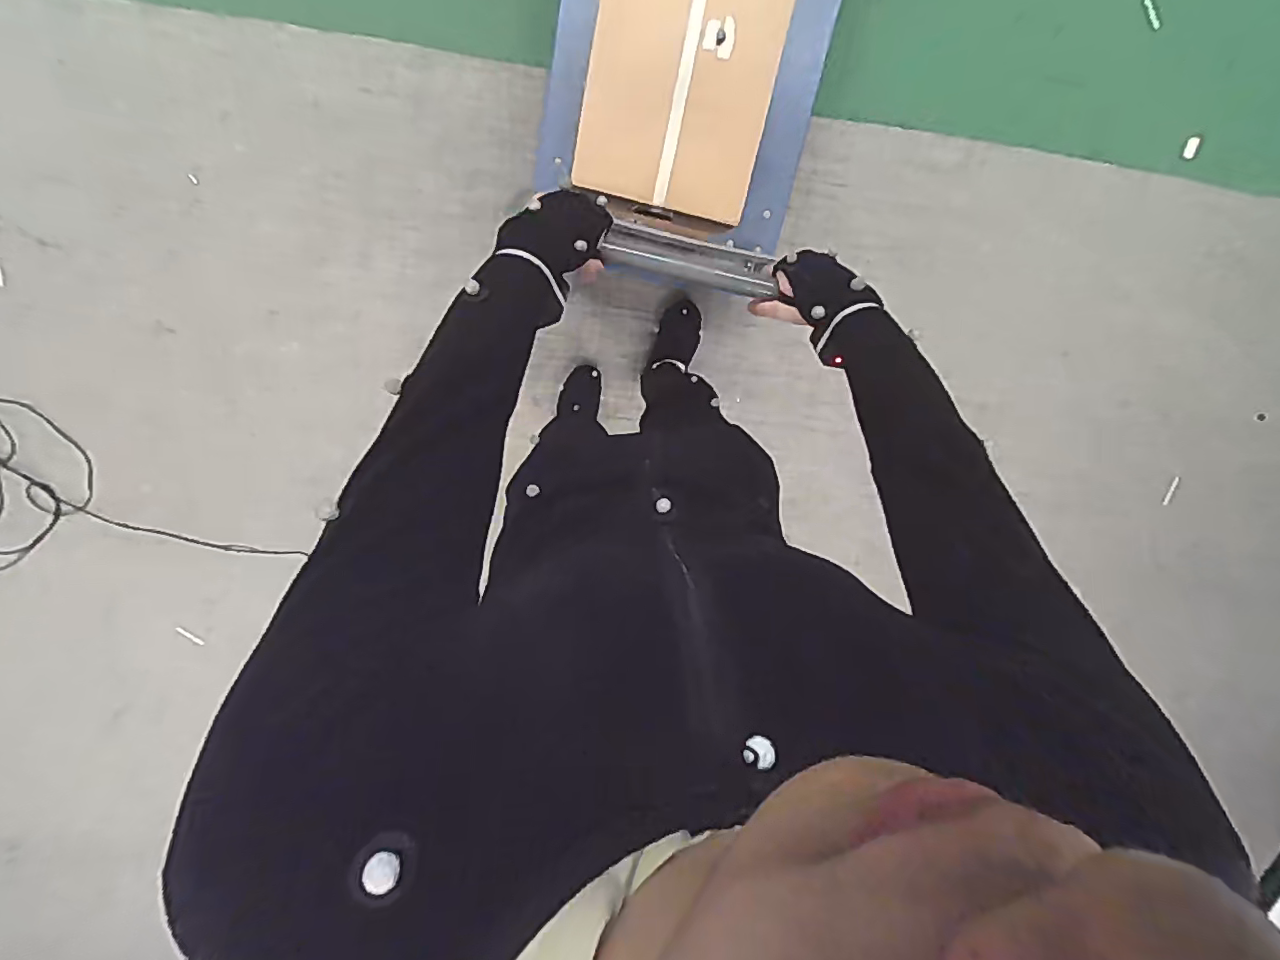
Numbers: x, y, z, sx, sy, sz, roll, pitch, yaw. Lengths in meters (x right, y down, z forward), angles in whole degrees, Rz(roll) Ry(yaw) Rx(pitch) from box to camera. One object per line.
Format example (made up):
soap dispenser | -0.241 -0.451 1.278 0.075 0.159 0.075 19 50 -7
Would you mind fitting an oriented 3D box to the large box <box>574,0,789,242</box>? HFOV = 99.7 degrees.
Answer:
large box | 0.059 -0.727 1.066 0.320 0.320 0.408 10 106 -8
